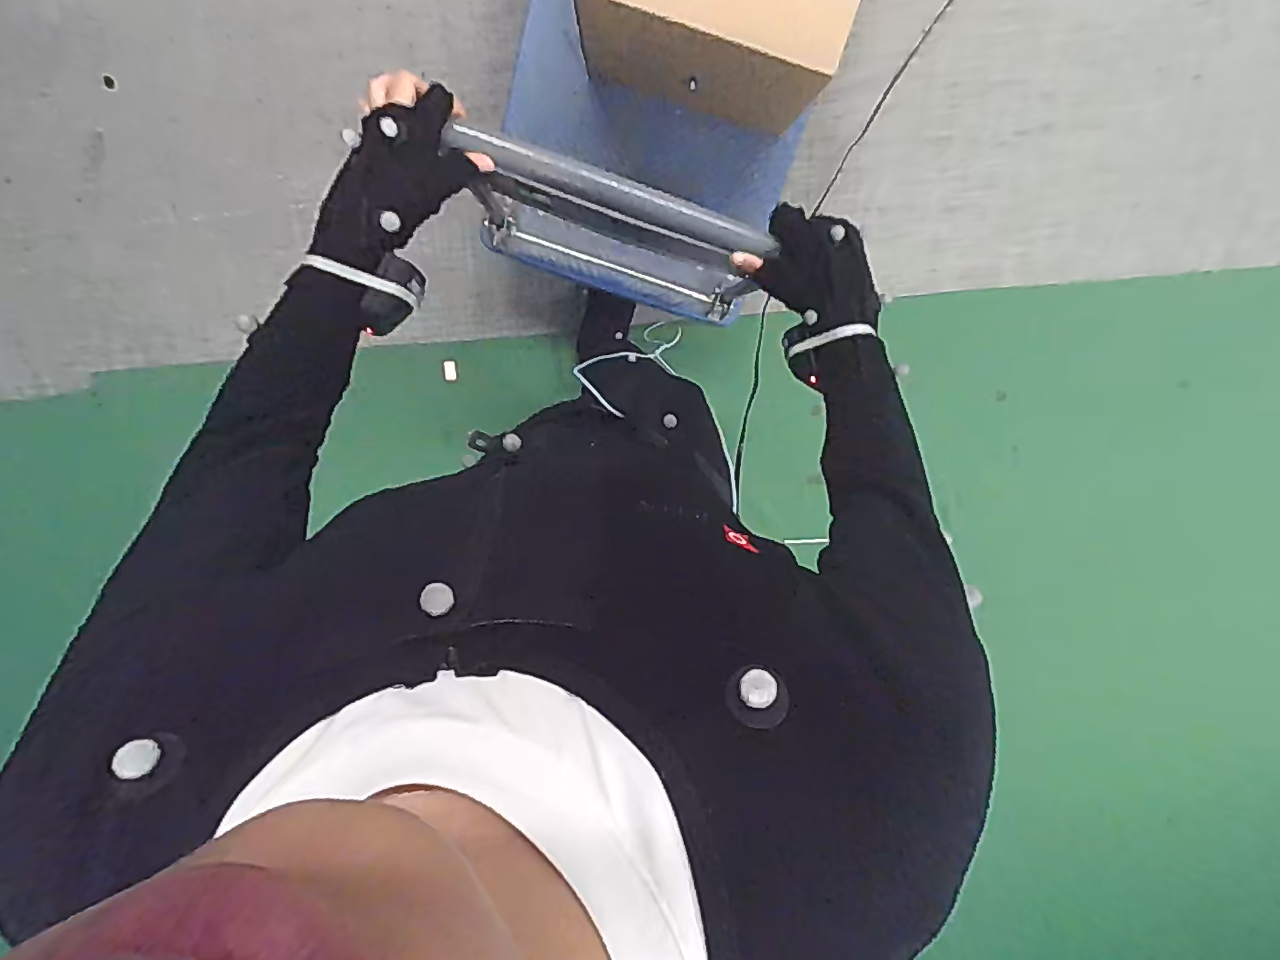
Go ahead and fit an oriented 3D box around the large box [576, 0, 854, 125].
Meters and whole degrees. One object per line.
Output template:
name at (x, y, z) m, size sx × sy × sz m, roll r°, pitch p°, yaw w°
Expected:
large box at (0.134, -0.844, 0.879) m, size 0.408 × 0.320 × 0.320 m, roll 15°, pitch 107°, yaw -5°
